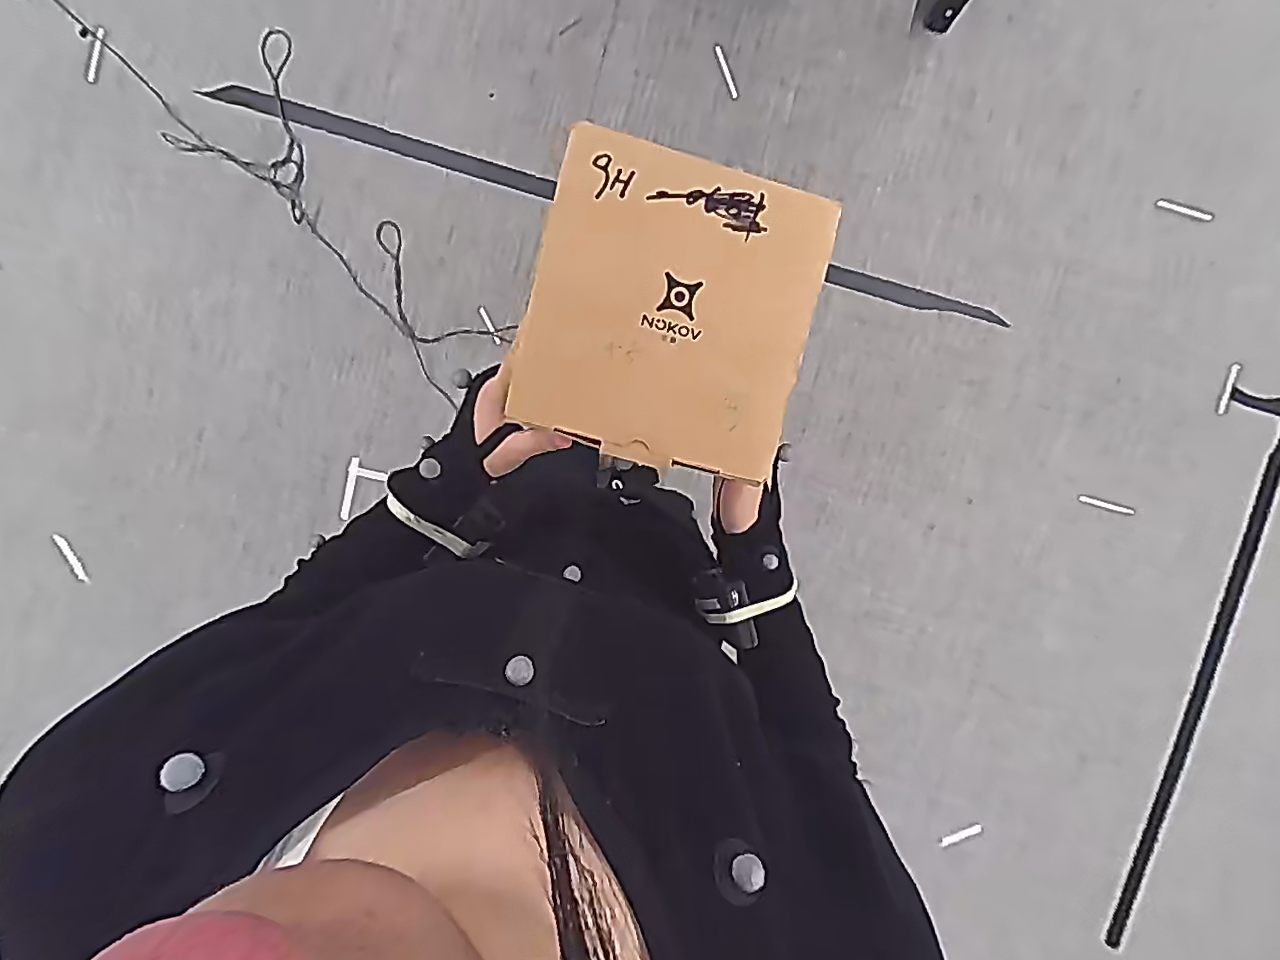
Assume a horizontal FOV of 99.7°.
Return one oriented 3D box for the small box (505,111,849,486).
[{"bbox_3d":[0.015,-0.107,0.389,0.168,0.176,0.179,14,94,-7],"label":"small box"}]
